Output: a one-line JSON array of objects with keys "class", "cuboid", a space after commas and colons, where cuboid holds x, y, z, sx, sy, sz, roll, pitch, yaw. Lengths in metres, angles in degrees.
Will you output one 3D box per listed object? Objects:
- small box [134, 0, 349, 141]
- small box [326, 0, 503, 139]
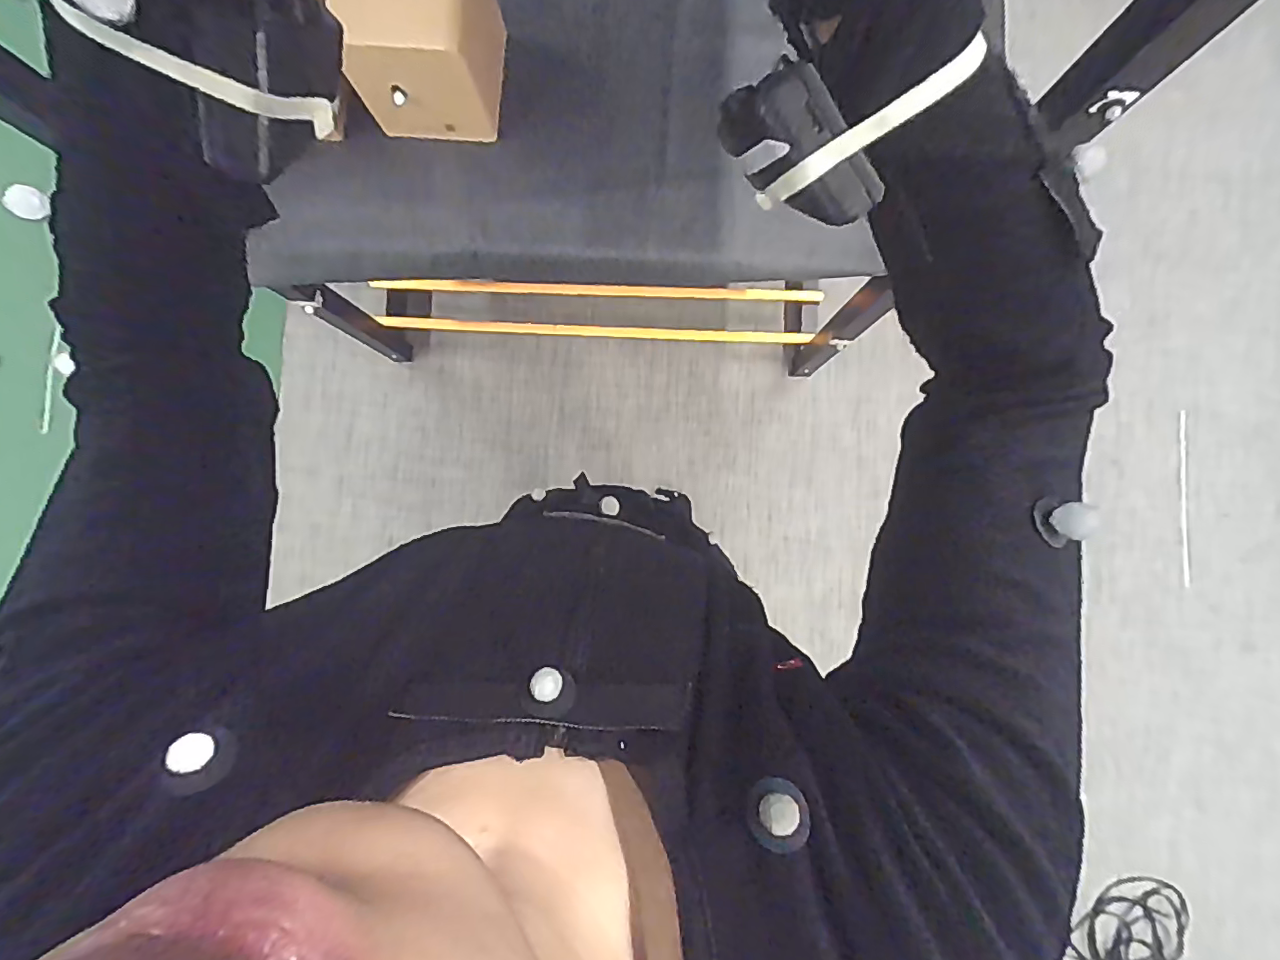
[{"class": "small box", "cuboid": [-0.518, -0.601, 0.730, 0.168, 0.176, 0.179, 2, 87, 0]}, {"class": "small box", "cuboid": [-0.290, -0.598, 0.731, 0.168, 0.176, 0.179, 4, 86, 0]}]
